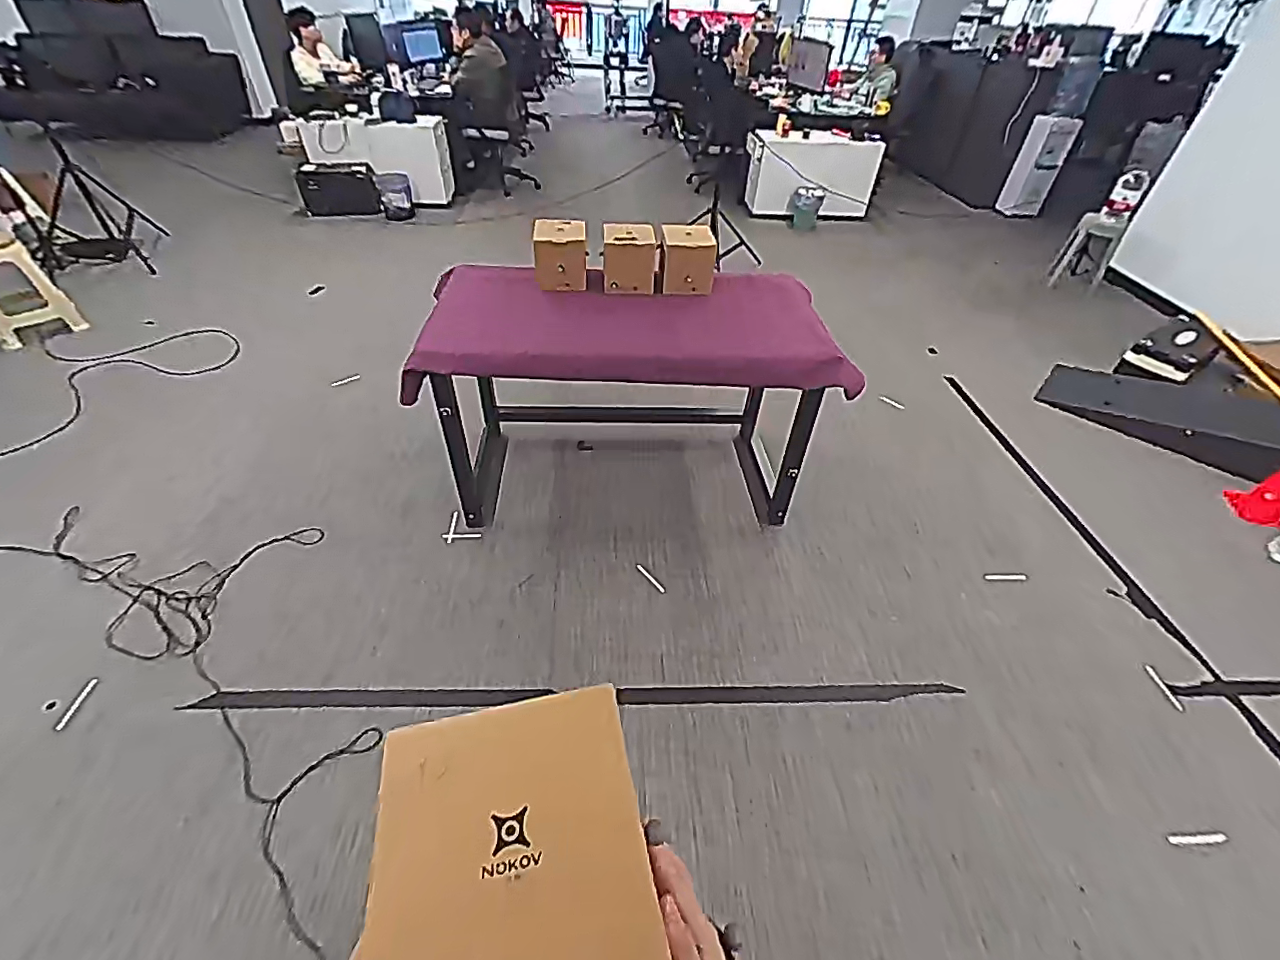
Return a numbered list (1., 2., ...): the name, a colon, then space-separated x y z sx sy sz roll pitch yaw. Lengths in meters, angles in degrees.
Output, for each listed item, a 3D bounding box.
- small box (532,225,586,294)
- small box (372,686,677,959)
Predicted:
1. small box: -0.267 -0.738 1.812 0.168 0.176 0.179 -1 45 -5
2. small box: -0.078 0.284 0.392 0.168 0.176 0.179 -9 44 -10
